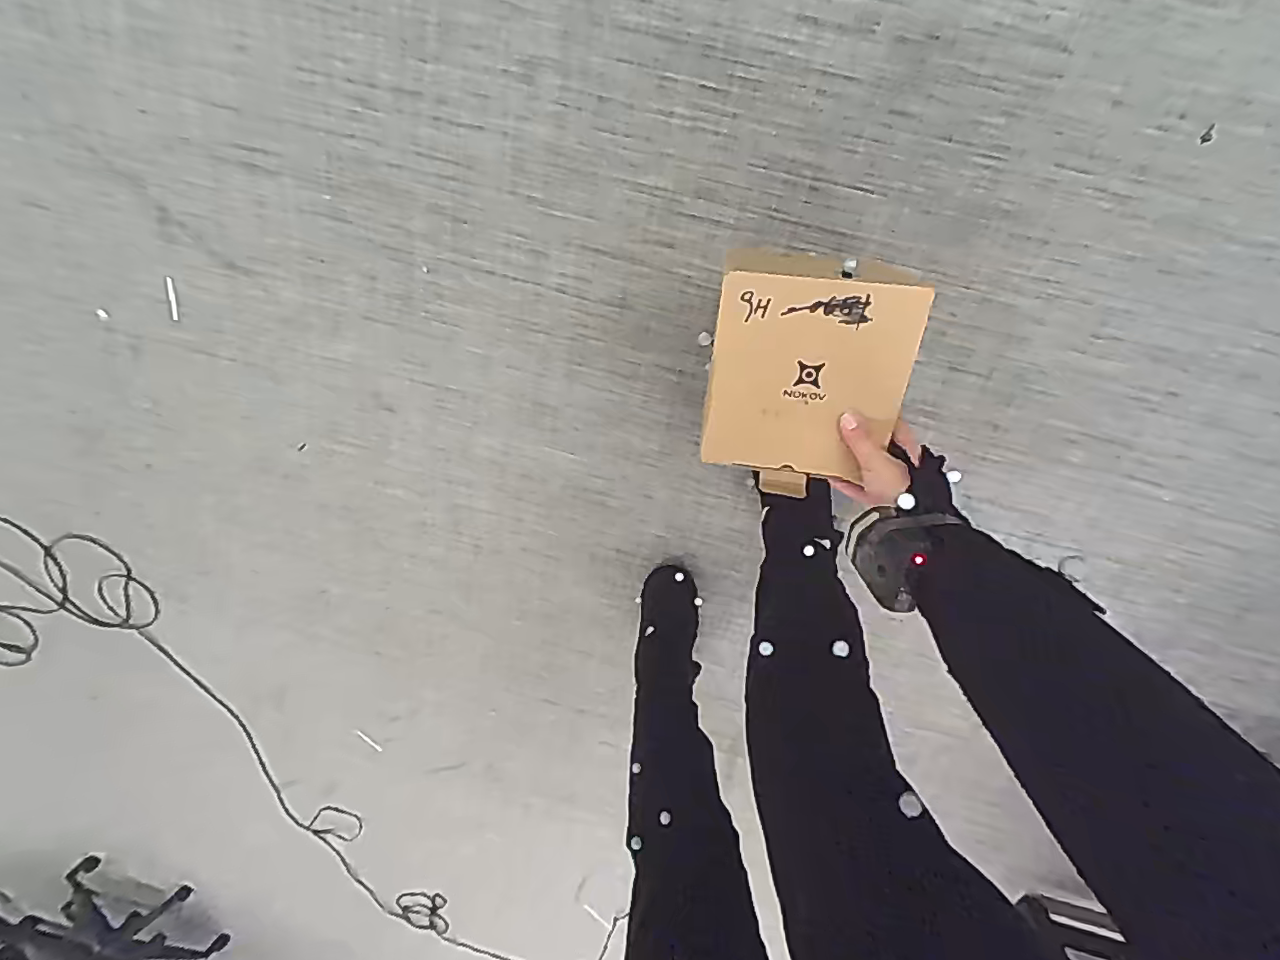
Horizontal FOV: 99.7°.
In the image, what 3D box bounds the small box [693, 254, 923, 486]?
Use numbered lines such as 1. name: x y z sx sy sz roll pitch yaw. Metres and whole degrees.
1. small box: 0.150 -0.117 0.541 0.168 0.176 0.179 7 119 6
